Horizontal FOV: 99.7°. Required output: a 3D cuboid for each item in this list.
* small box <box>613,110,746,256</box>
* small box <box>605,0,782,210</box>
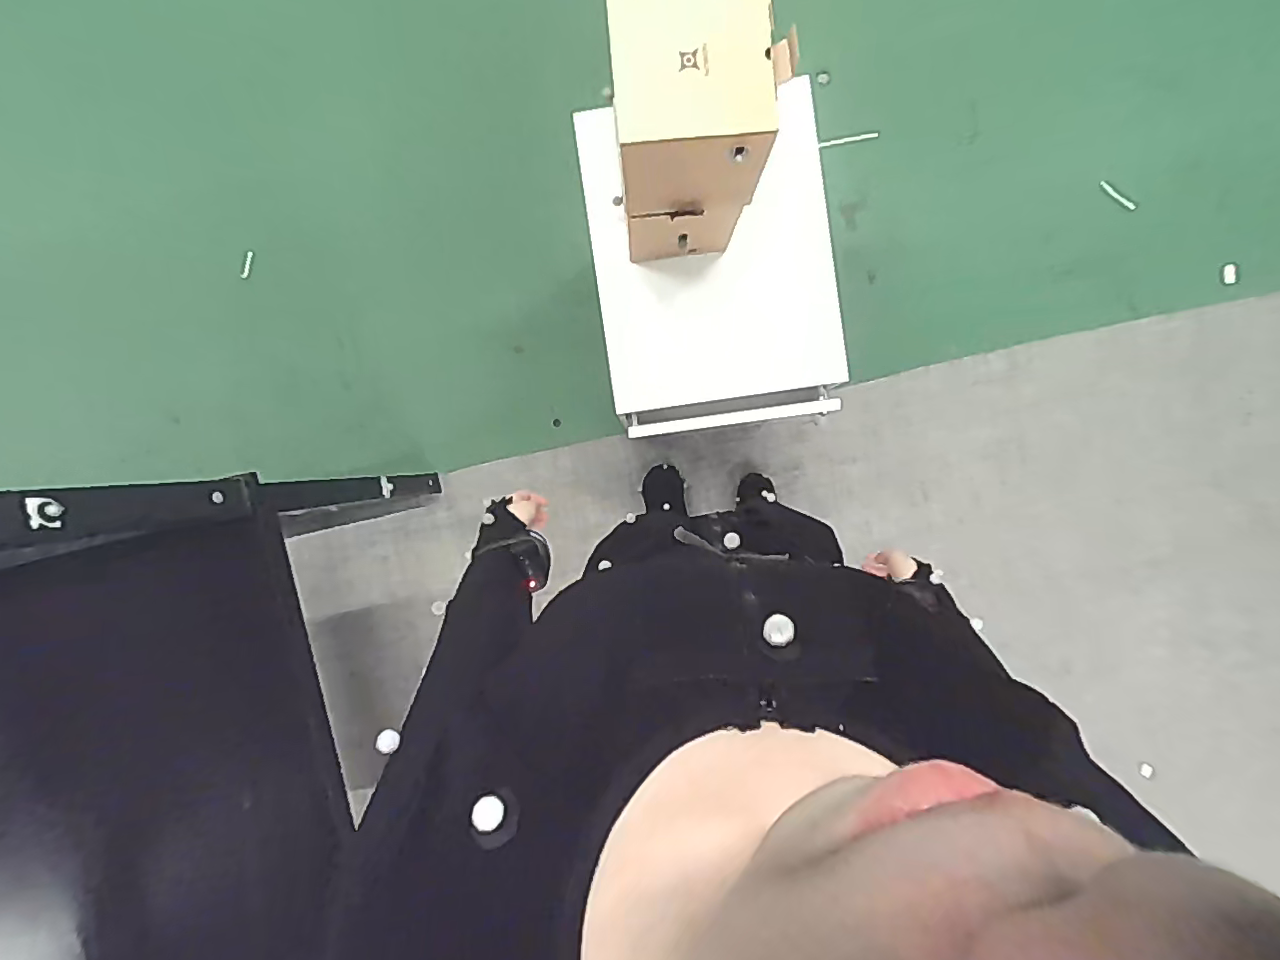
[{"bbox_3d":[0.055,-0.451,0.806,0.168,0.176,0.179,-7,92,0],"label":"small box"},{"bbox_3d":[0.057,-0.443,0.643,0.179,0.176,0.168,-5,92,0],"label":"small box"}]
